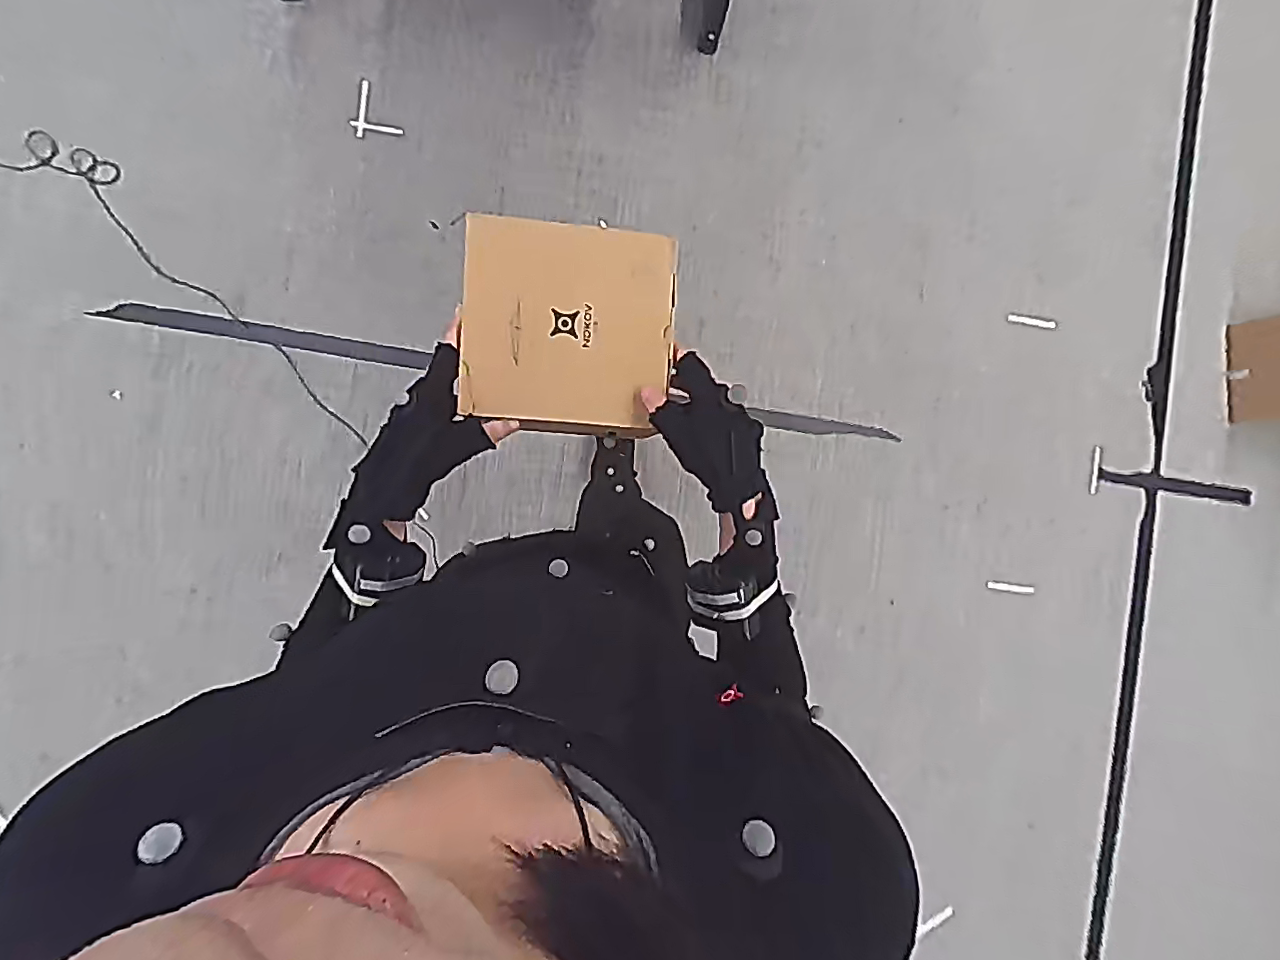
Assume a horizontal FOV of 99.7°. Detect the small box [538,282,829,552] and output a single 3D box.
[{"bbox_3d":[0.046,-0.062,0.502,0.176,0.168,0.179,-30,91,-47],"label":"small box"}]
